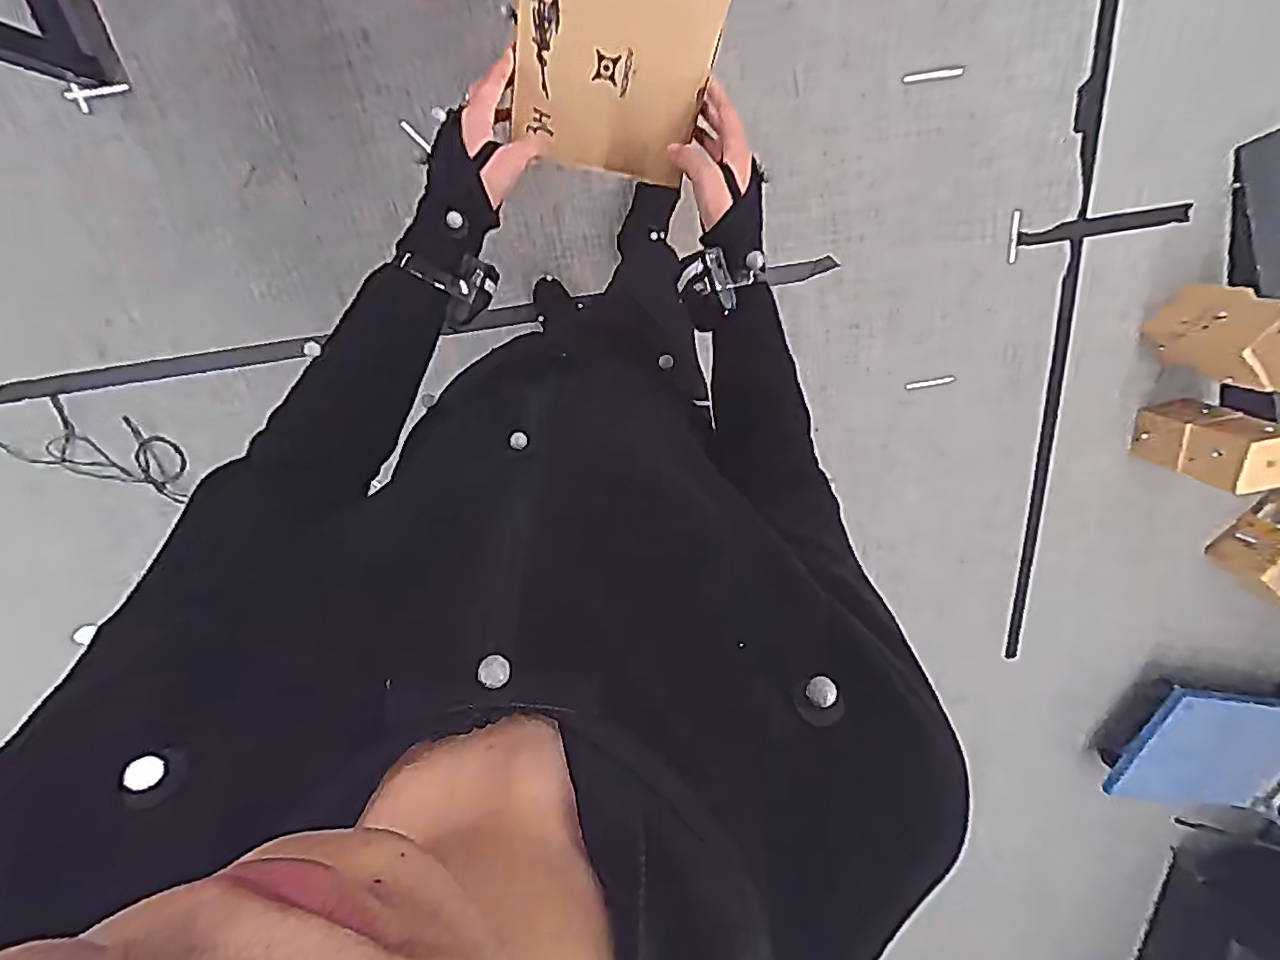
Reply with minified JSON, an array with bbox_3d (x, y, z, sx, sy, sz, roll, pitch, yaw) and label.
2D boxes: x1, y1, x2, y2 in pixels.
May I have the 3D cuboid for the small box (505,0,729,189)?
[{"bbox_3d":[-0.039,-0.425,0.546,0.179,0.176,0.168,2,136,-18],"label":"small box"}]
